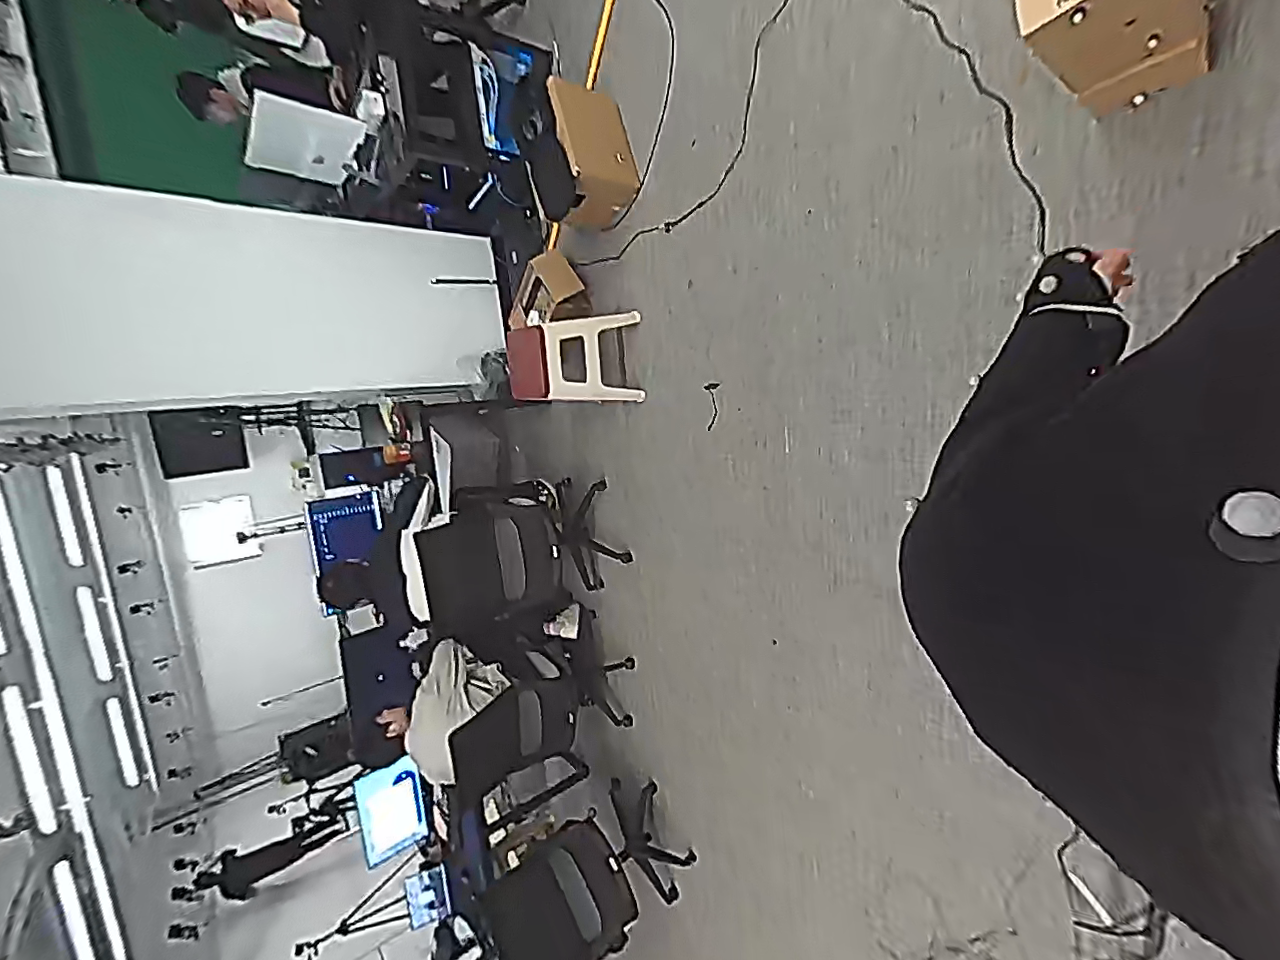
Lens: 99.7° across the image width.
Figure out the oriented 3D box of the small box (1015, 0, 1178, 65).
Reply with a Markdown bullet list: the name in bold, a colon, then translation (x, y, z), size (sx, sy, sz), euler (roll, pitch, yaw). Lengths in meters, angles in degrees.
- **small box**: translation (0.667, -0.767, 0.793), size (0.168, 0.176, 0.179), euler (-7, 93, 52)

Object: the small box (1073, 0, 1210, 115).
- **small box**: translation (0.919, -0.818, 0.994), size (0.168, 0.176, 0.179), euler (2, 101, 51)

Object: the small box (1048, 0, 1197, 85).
- **small box**: translation (0.793, -0.798, 0.895), size (0.168, 0.176, 0.179), euler (-4, 95, 51)
